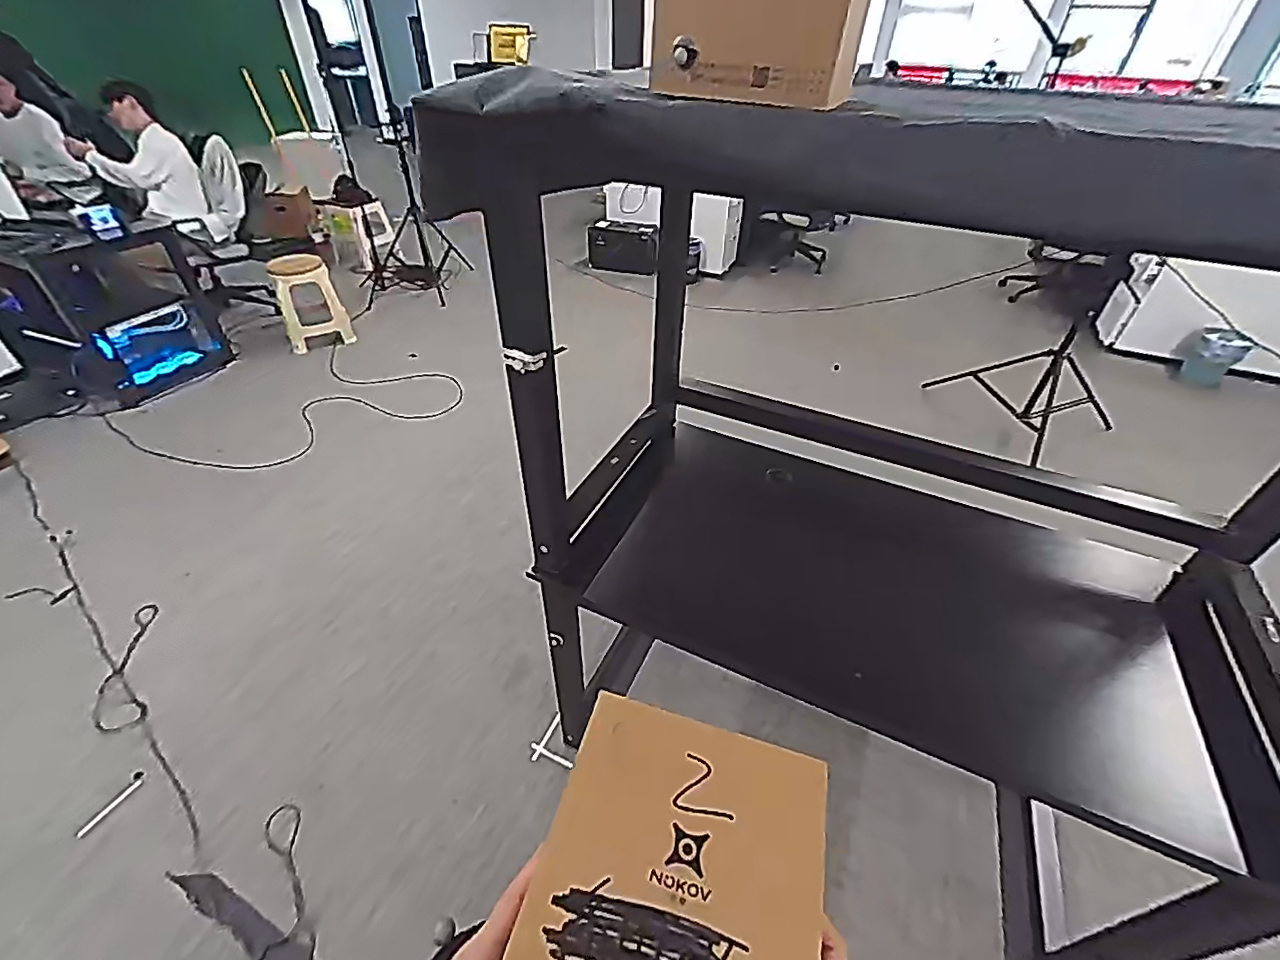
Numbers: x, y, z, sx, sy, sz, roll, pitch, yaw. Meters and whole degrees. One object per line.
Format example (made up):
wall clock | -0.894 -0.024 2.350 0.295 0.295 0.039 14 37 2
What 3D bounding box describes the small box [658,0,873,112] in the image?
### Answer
small box | 0.122 -0.445 0.493 0.168 0.176 0.179 17 40 16
